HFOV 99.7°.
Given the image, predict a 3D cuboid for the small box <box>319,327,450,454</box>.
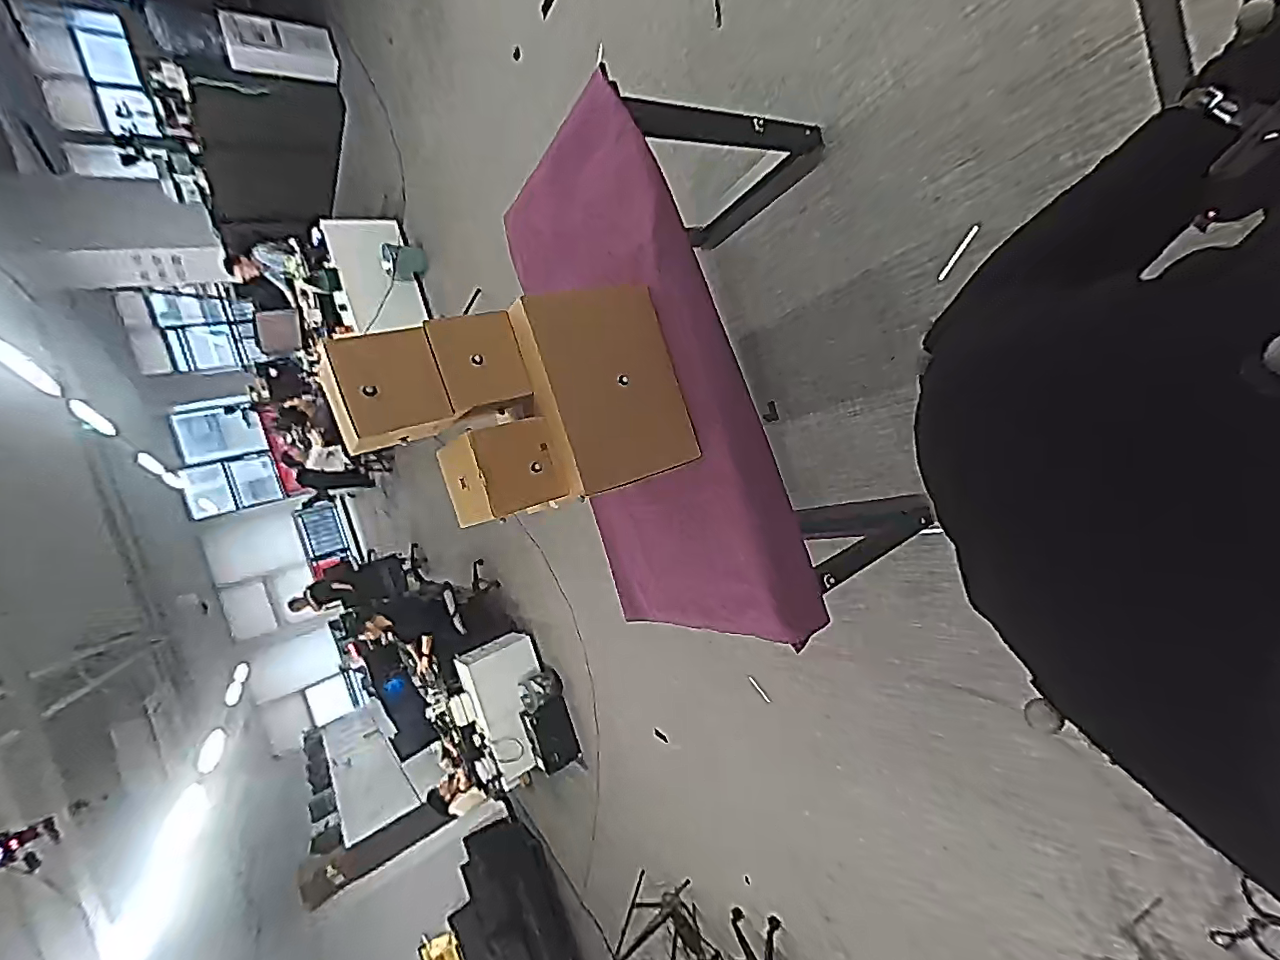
[{"bbox_3d":[-0.469,-0.163,0.996,0.168,0.176,0.179,-13,96,57],"label":"small box"}]
